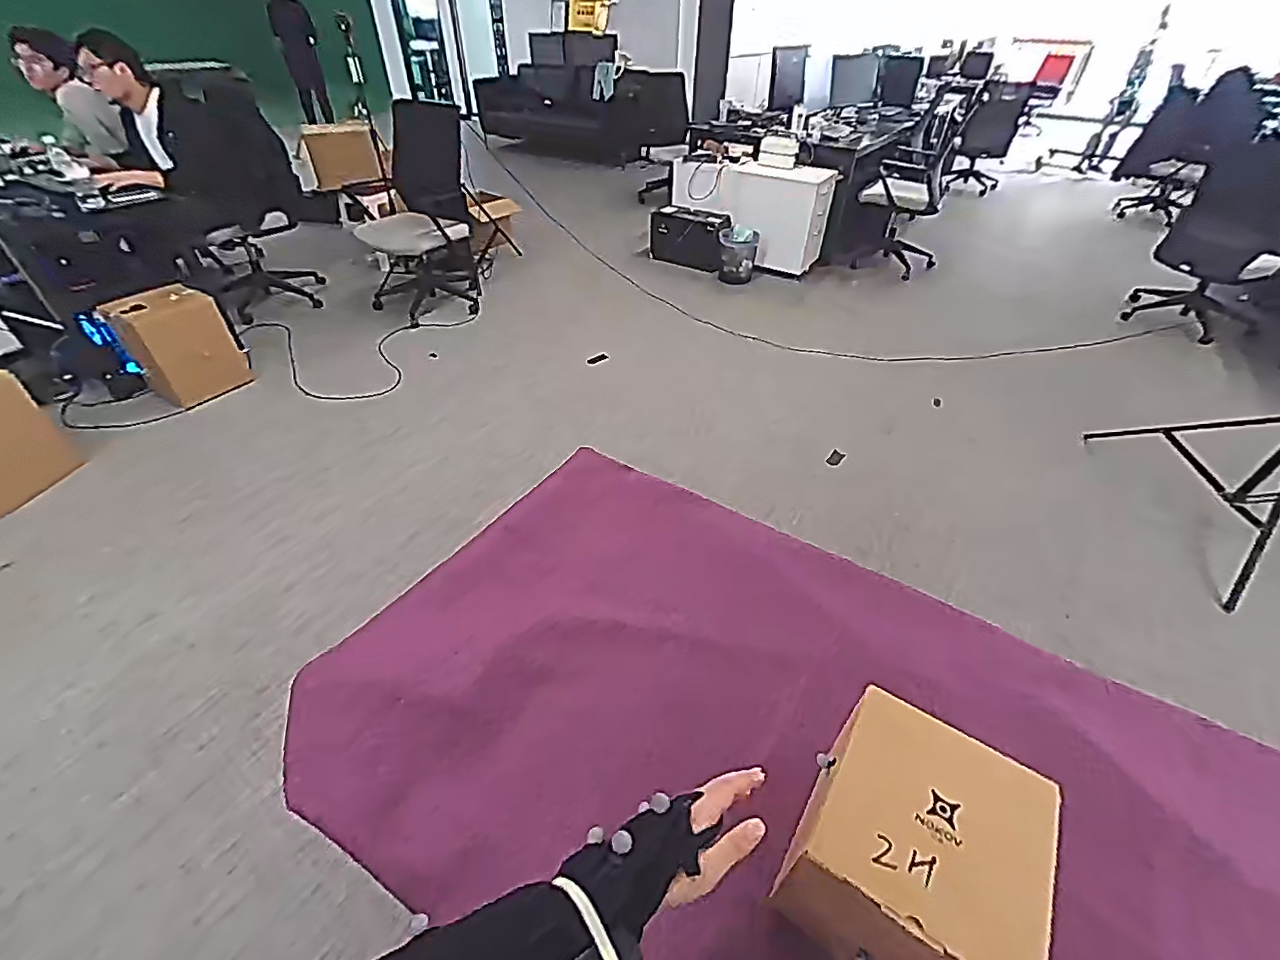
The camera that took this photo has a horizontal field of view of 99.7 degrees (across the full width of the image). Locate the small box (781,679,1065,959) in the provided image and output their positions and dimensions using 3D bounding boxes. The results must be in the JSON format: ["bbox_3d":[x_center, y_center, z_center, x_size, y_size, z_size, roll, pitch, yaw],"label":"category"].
[{"bbox_3d":[0.244,0.329,0.491,0.168,0.176,0.179,25,47,25],"label":"small box"}]
